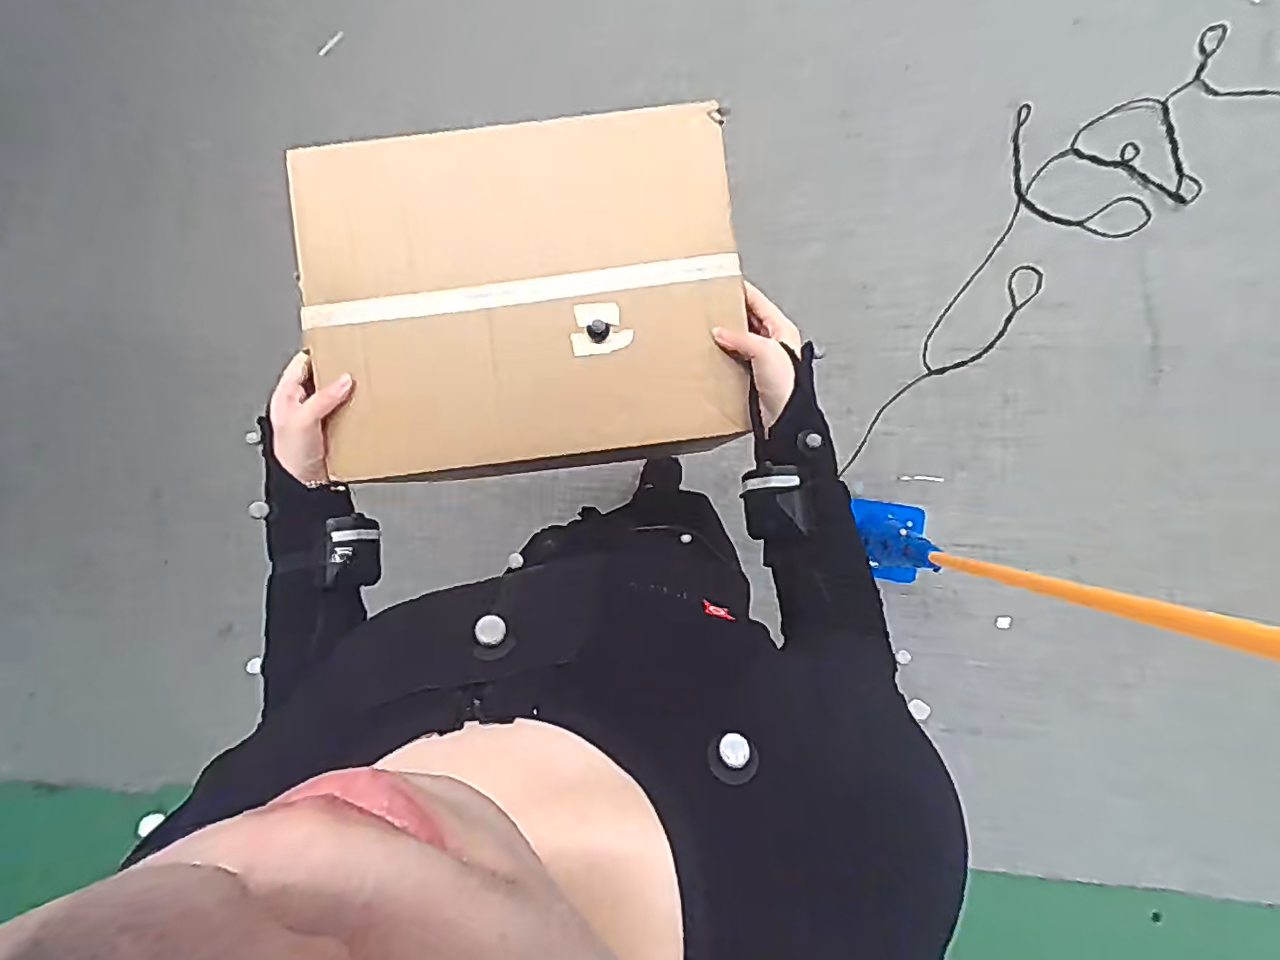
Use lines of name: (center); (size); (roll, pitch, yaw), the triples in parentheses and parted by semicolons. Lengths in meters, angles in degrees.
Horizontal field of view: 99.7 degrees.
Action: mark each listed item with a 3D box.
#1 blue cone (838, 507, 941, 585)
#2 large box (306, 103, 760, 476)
blue cone: (0.601, 0.170, 1.248); (0.193, 0.380, 0.192); (10, 91, 8)
large box: (-0.105, -0.183, 0.660); (0.408, 0.320, 0.320); (-7, 91, -2)
